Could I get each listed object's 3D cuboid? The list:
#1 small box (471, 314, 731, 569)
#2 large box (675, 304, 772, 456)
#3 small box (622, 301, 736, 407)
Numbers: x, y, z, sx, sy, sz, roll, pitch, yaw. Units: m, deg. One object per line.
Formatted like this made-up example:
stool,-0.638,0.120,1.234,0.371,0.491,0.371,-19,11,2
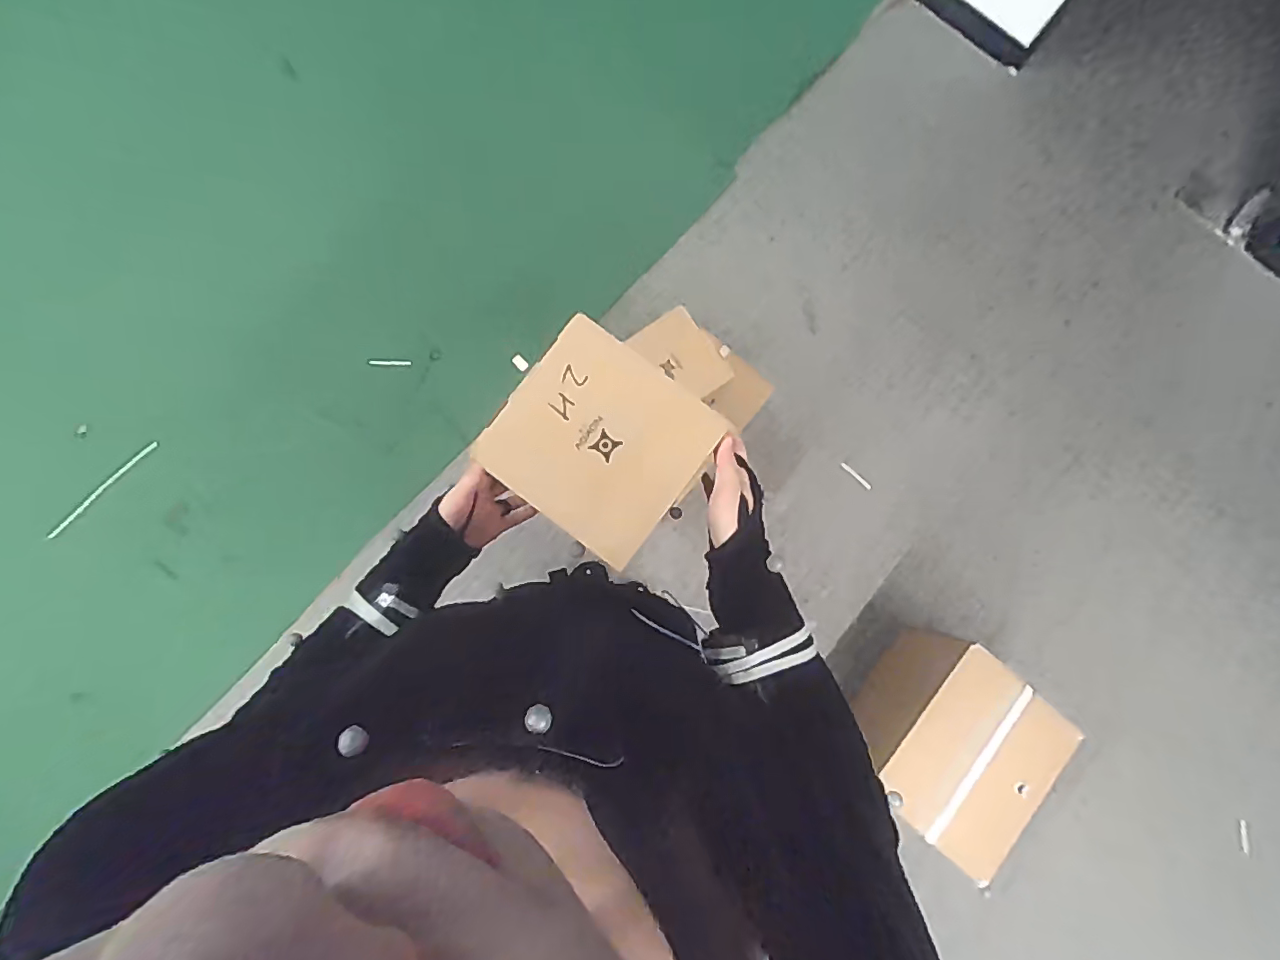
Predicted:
small box,-0.034,-0.032,0.559,0.179,0.176,0.168,38,86,3
large box,0.073,-0.162,1.429,0.320,0.320,0.408,41,82,3
small box,0.052,-0.196,1.023,0.179,0.176,0.168,-34,83,-5
